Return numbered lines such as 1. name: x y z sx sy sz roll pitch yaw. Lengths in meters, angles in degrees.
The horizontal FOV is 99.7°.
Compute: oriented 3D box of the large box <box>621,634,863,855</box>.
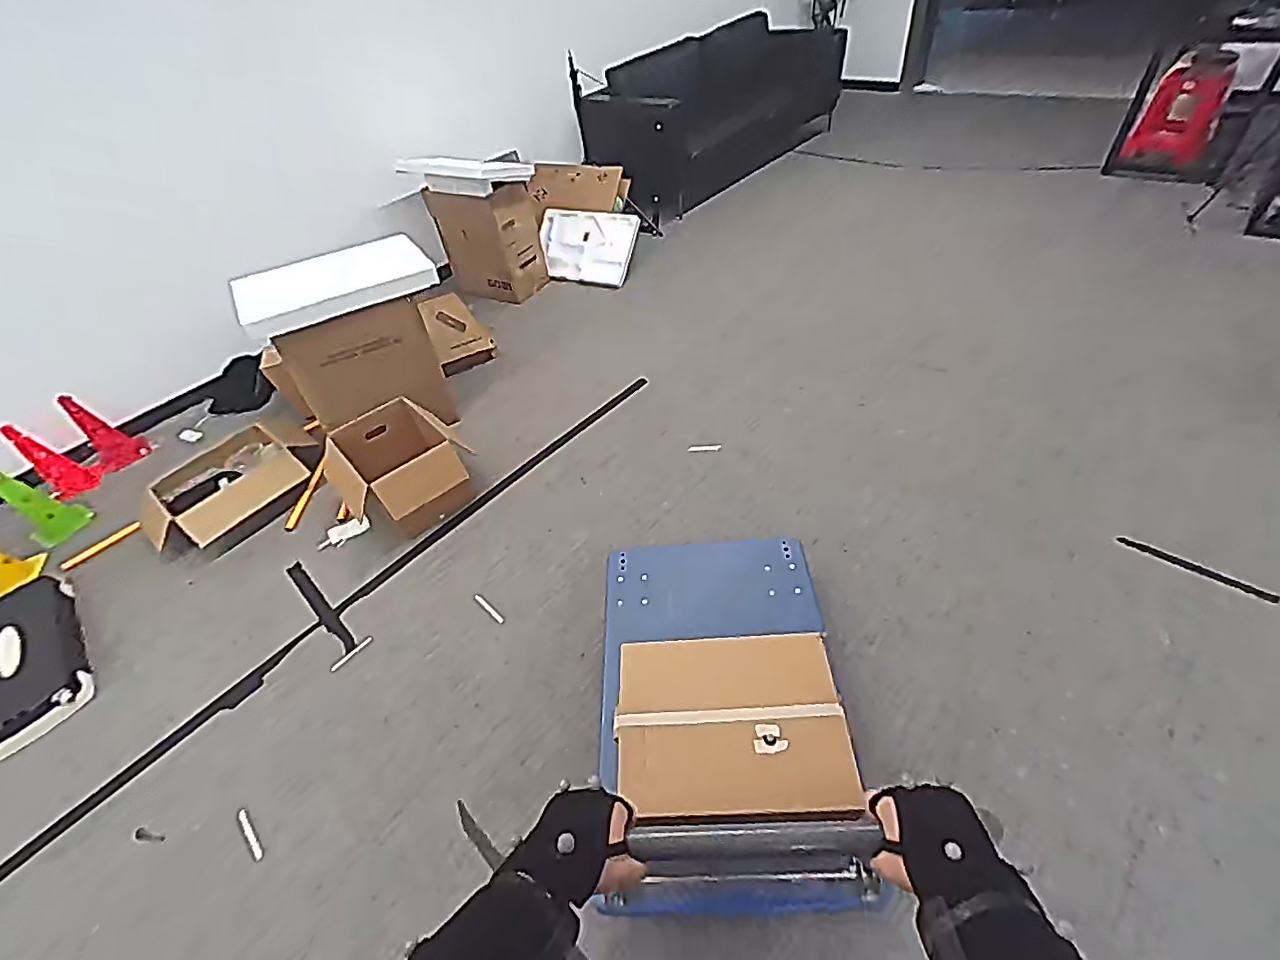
1. large box: 0.175 0.537 1.093 0.408 0.320 0.320 -4 46 3
